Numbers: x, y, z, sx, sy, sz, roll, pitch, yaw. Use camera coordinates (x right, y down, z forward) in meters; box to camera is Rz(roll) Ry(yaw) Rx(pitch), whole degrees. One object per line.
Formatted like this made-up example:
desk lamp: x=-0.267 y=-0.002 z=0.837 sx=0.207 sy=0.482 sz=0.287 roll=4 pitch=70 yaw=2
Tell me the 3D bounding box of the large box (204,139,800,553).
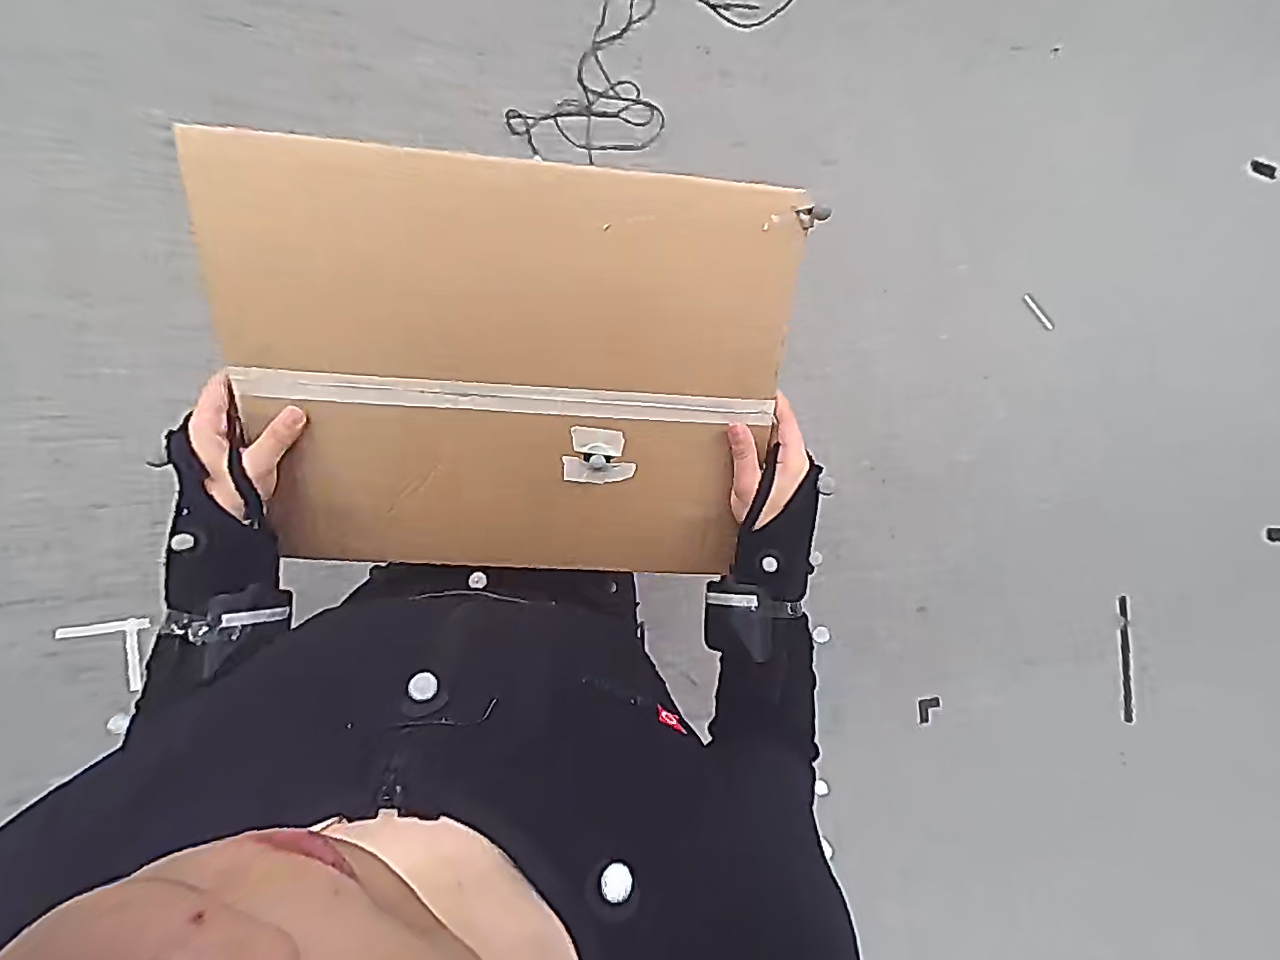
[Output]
large box: x=-0.106 y=-0.136 z=0.559 sx=0.408 sy=0.320 sz=0.320 roll=2 pitch=116 yaw=-6
